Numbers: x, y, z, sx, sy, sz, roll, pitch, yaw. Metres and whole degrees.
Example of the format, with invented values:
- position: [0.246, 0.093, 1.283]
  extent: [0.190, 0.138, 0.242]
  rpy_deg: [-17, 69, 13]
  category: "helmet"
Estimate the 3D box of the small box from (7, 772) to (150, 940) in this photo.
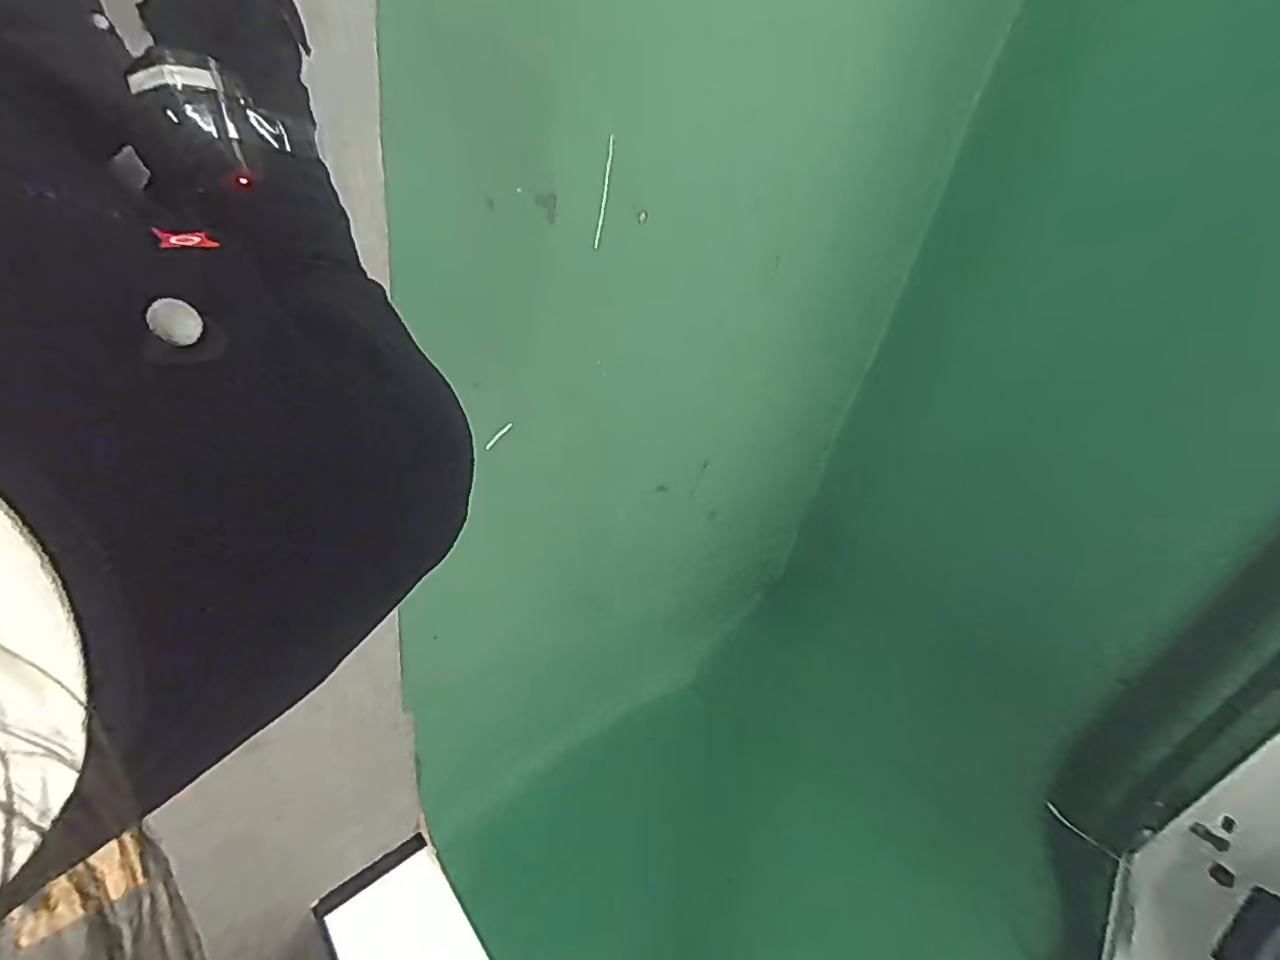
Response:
- position: [-1.112, 0.735, 1.078]
  extent: [0.179, 0.176, 0.168]
  rpy_deg: [-11, 122, -45]
  category: "small box"
